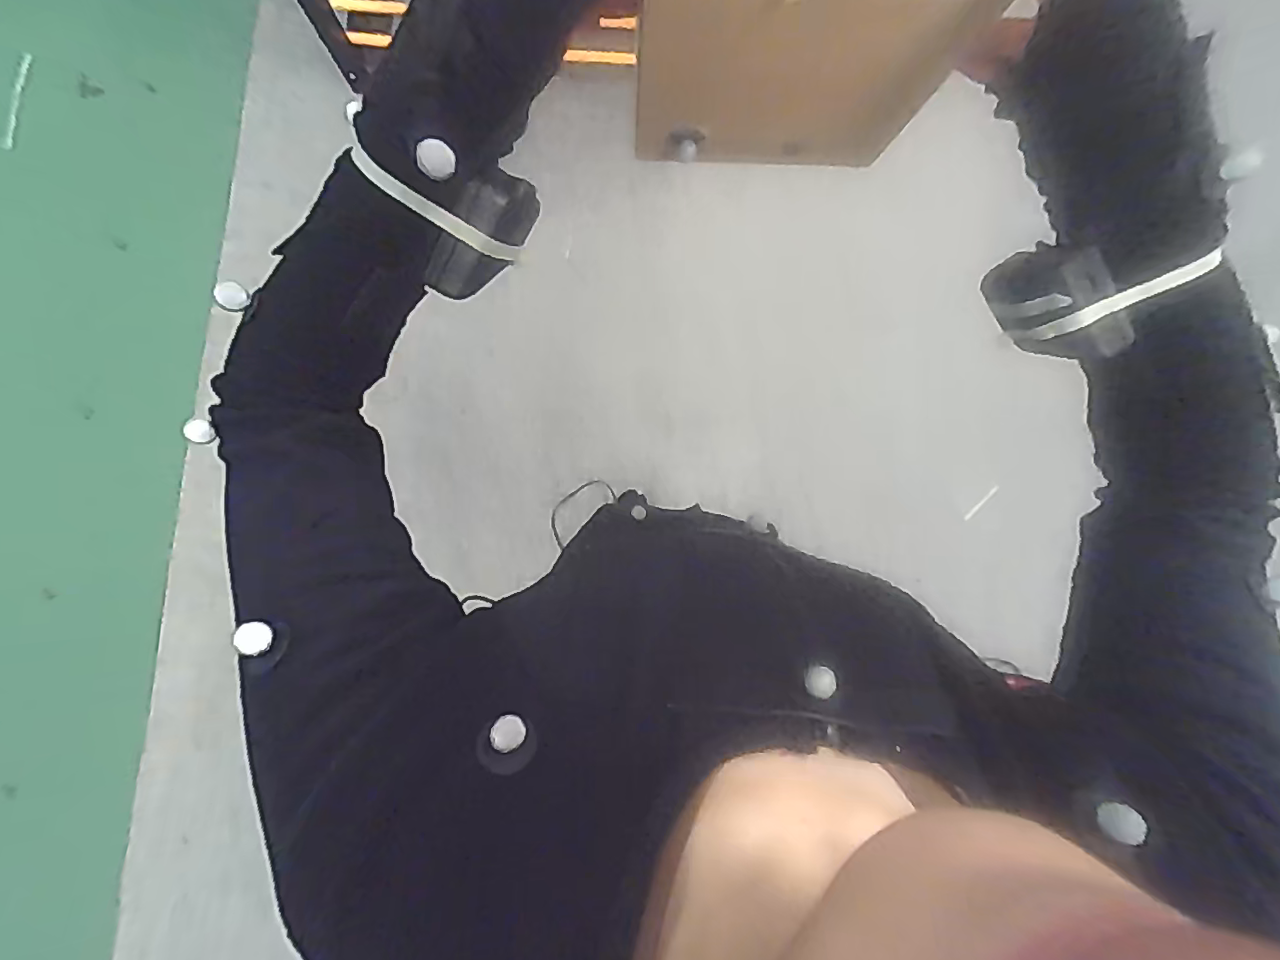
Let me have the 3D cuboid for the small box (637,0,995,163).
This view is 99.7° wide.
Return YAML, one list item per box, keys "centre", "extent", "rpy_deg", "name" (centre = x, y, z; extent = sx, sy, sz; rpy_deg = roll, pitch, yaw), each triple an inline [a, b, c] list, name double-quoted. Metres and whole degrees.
- centre: [0.085, -0.297, 0.286]
  extent: [0.168, 0.176, 0.179]
  rpy_deg: [0, 92, -2]
  name: "small box"
